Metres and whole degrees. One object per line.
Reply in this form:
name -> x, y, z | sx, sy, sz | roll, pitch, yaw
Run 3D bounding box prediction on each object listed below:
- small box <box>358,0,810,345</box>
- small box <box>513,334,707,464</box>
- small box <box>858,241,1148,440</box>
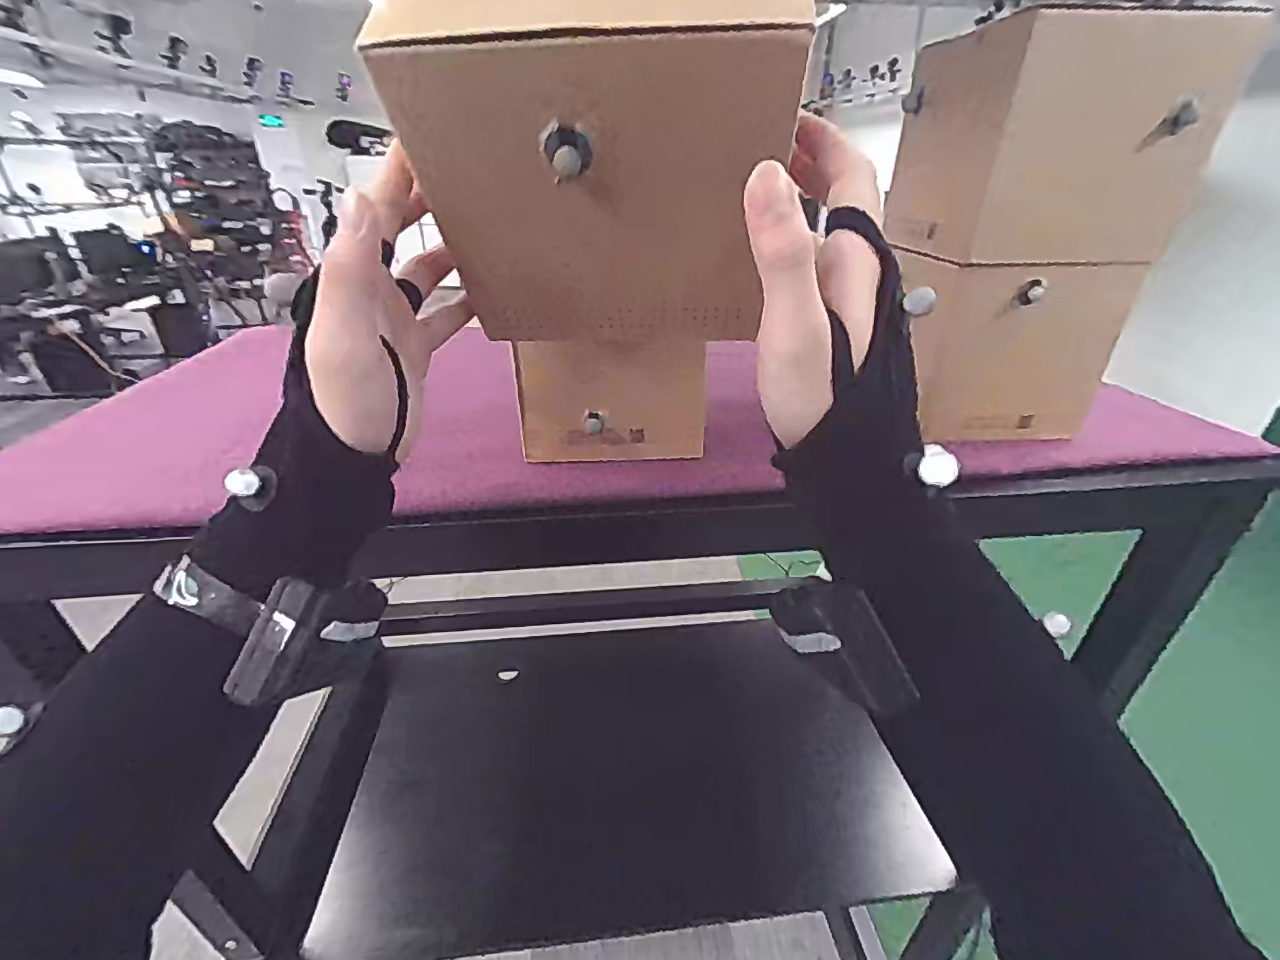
small box -> -0.013, -0.193, 0.307 | 0.179, 0.176, 0.168 | 2, 64, 5
small box -> -0.029, -0.127, 0.531 | 0.168, 0.176, 0.179 | -3, 29, -2
small box -> 0.349, -0.152, 0.568 | 0.168, 0.176, 0.179 | -2, 30, -1
